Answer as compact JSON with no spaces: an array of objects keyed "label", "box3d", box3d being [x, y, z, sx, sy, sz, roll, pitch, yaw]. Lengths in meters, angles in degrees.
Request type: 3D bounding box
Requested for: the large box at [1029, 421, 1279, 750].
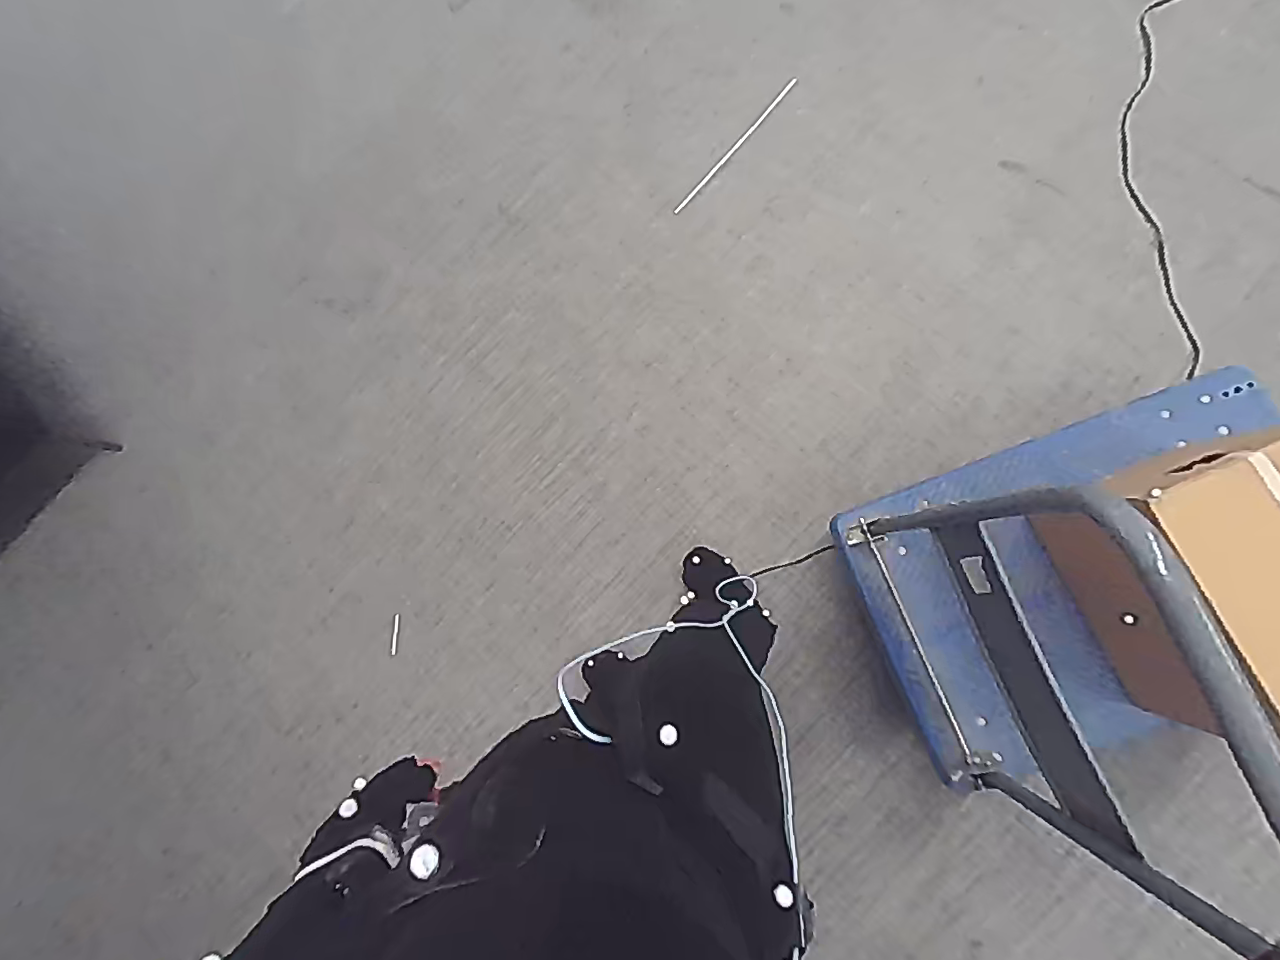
[{"label":"large box","box3d":[0.966,0.157,0.889,0.320,0.320,0.408,-25,80,3]}]
